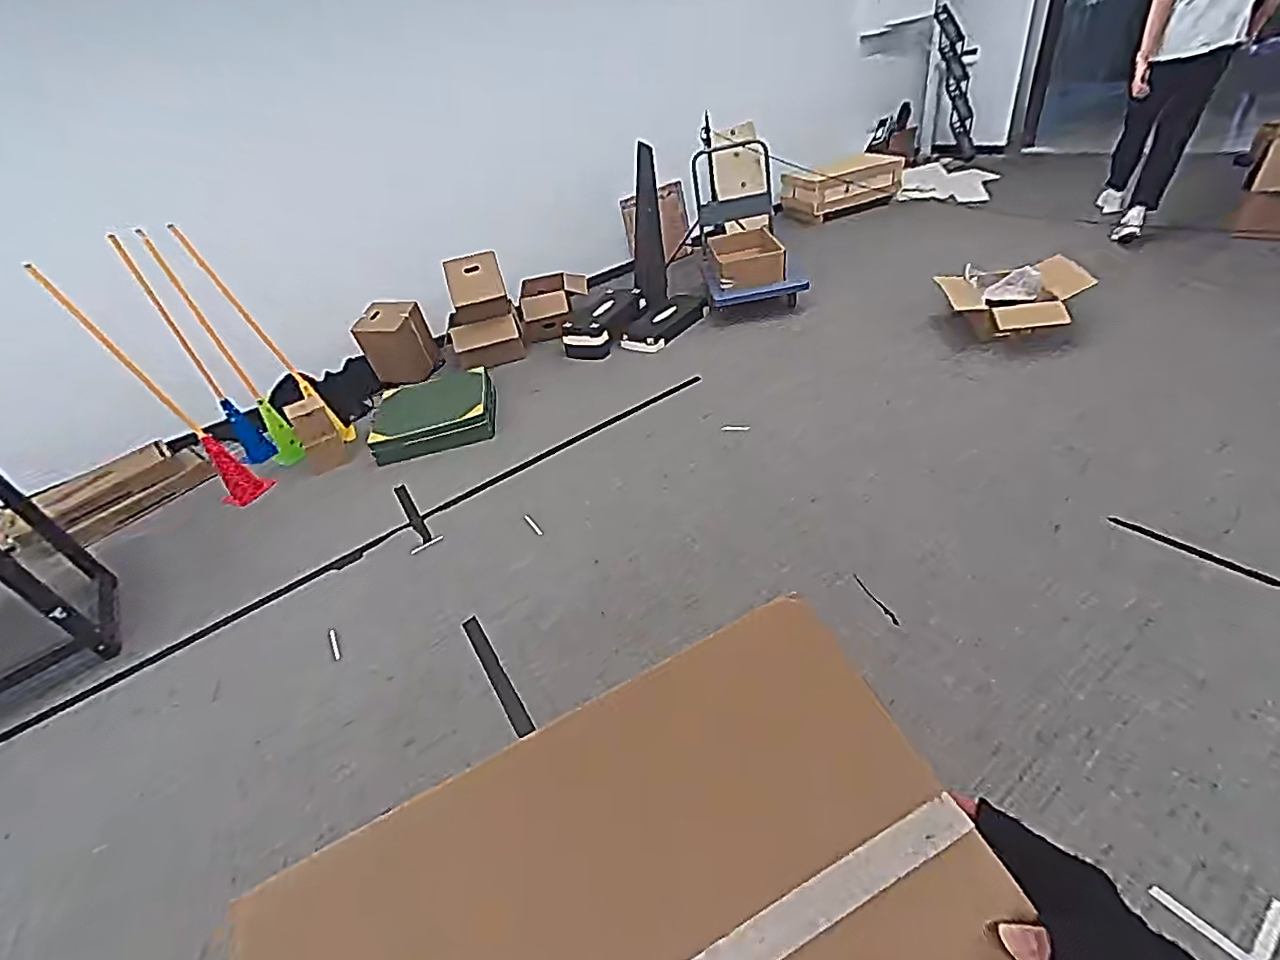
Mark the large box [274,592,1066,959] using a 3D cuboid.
[{"bbox_3d":[0.026,0.360,0.415,0.408,0.320,0.320,-26,58,-9],"label":"large box"}]
